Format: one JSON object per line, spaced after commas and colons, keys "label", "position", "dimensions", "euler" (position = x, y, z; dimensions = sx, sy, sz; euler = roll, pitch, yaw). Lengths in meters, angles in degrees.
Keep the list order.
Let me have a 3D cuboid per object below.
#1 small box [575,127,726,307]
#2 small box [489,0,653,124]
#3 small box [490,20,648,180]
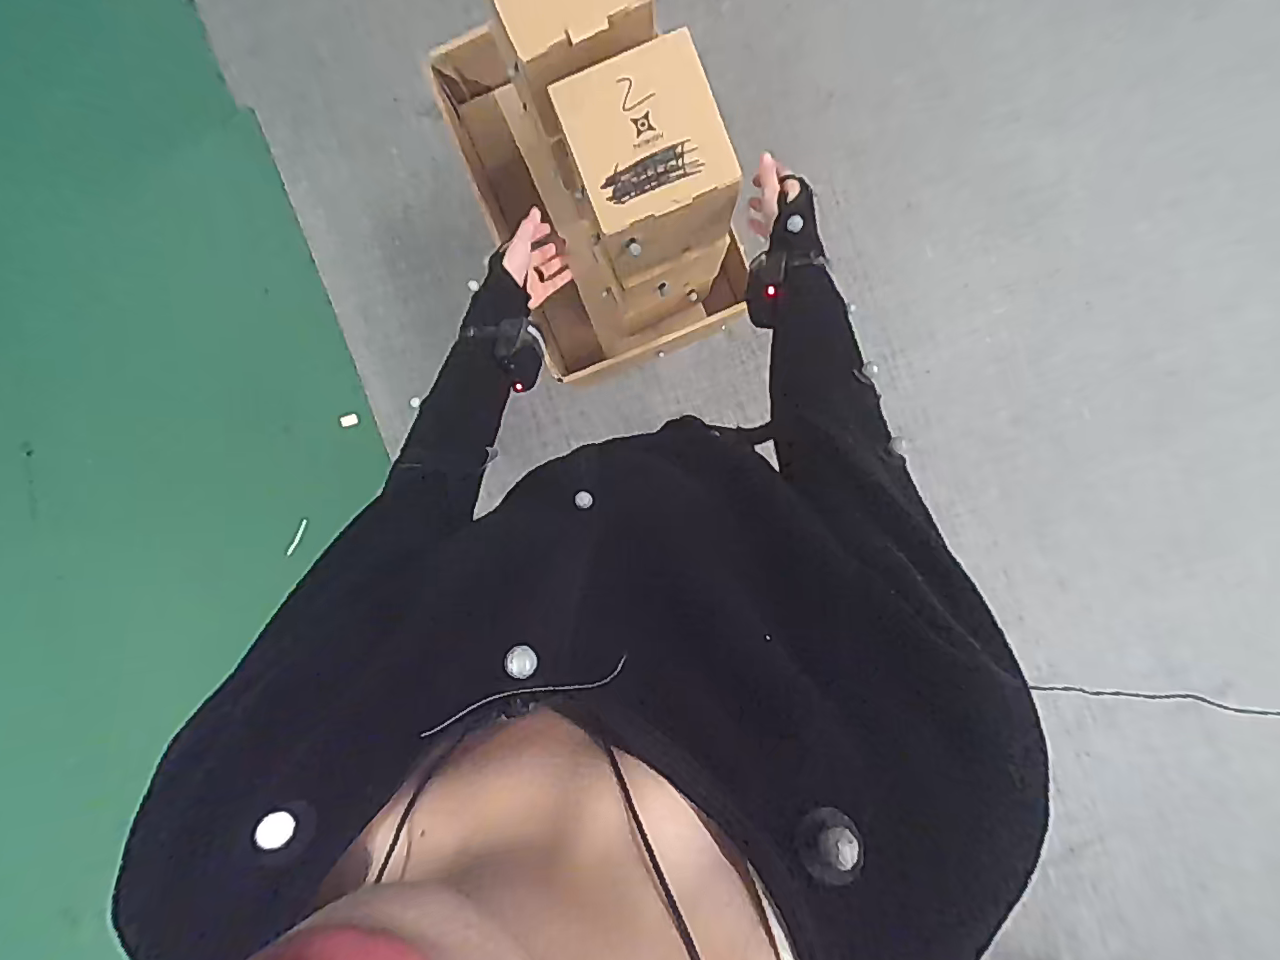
{"label": "small box", "position": [0.018, -0.384, 0.834], "dimensions": [0.168, 0.176, 0.179], "euler": [-23, 93, 3]}
{"label": "small box", "position": [-0.090, -0.577, 0.660], "dimensions": [0.168, 0.176, 0.179], "euler": [-24, 96, 3]}
{"label": "small box", "position": [-0.094, -0.593, 0.822], "dimensions": [0.168, 0.176, 0.179], "euler": [-27, 95, 4]}
